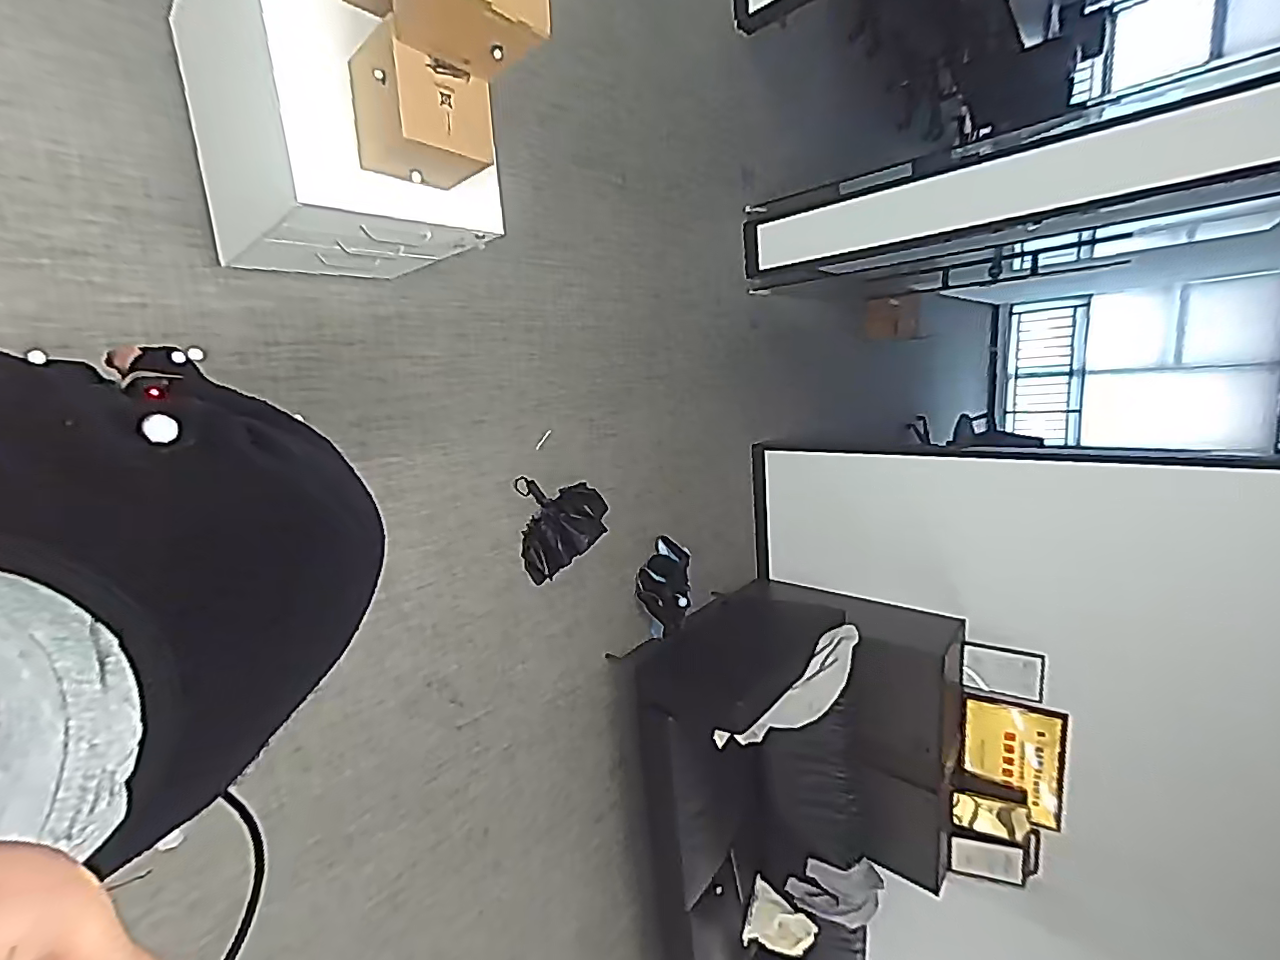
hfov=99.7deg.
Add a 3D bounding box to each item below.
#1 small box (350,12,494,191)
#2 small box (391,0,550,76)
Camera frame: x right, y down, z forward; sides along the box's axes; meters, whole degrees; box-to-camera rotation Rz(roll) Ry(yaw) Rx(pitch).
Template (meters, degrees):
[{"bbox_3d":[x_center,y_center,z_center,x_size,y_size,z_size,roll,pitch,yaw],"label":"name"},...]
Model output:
[{"bbox_3d":[-0.371,-0.622,0.918,0.168,0.176,0.179,-13,104,-46],"label":"small box"},{"bbox_3d":[-0.254,-0.742,0.792,0.168,0.176,0.179,-14,104,-48],"label":"small box"}]
